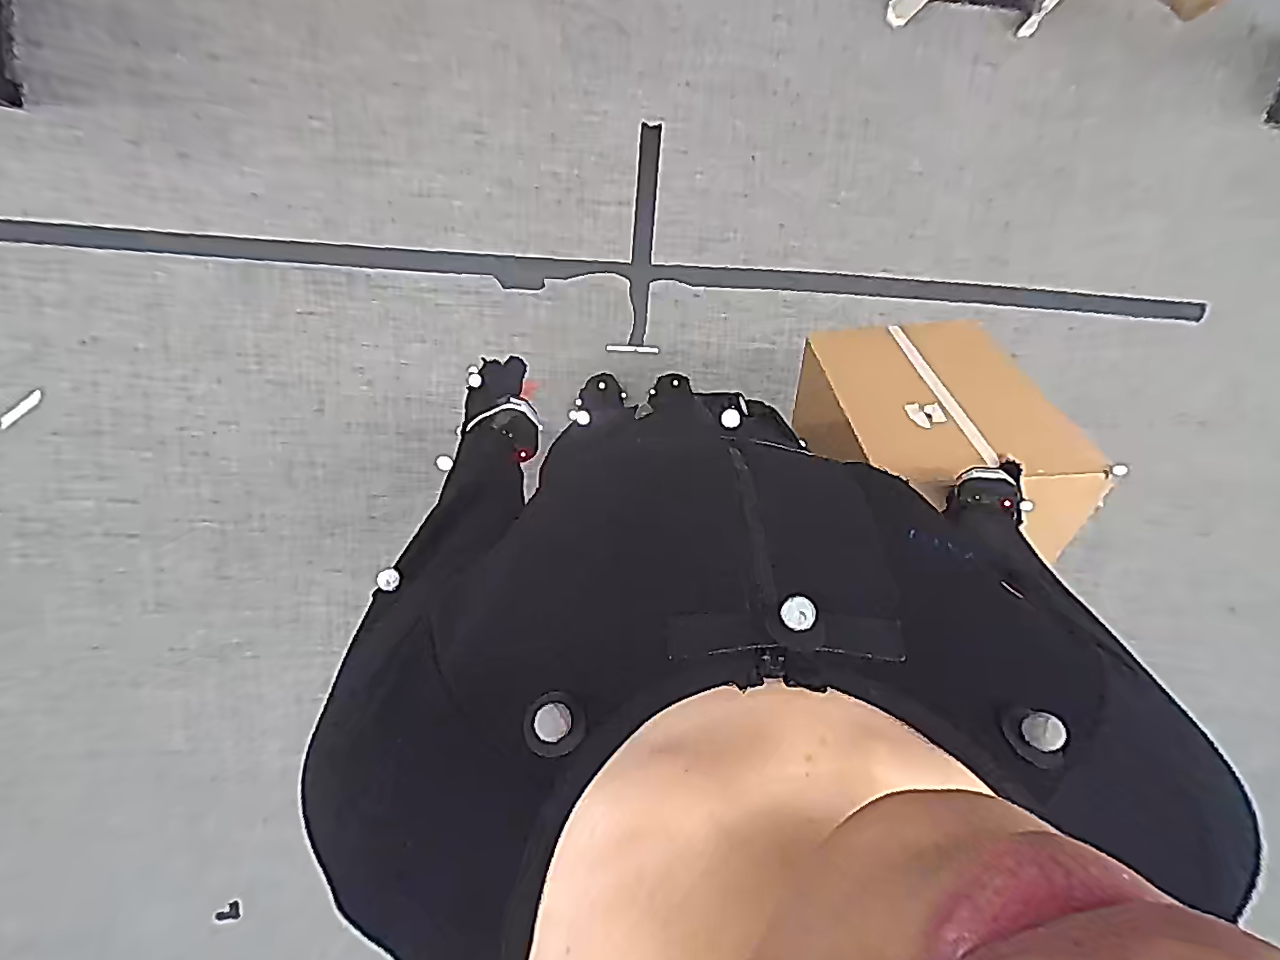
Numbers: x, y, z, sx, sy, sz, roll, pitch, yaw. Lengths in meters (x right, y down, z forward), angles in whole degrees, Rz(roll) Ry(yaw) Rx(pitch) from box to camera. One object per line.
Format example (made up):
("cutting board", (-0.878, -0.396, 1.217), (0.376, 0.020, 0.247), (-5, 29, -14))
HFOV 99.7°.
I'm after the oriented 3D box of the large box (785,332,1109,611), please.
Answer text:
("large box", (0.478, -0.023, 0.972), (0.320, 0.408, 0.320), (-4, 135, 1))
